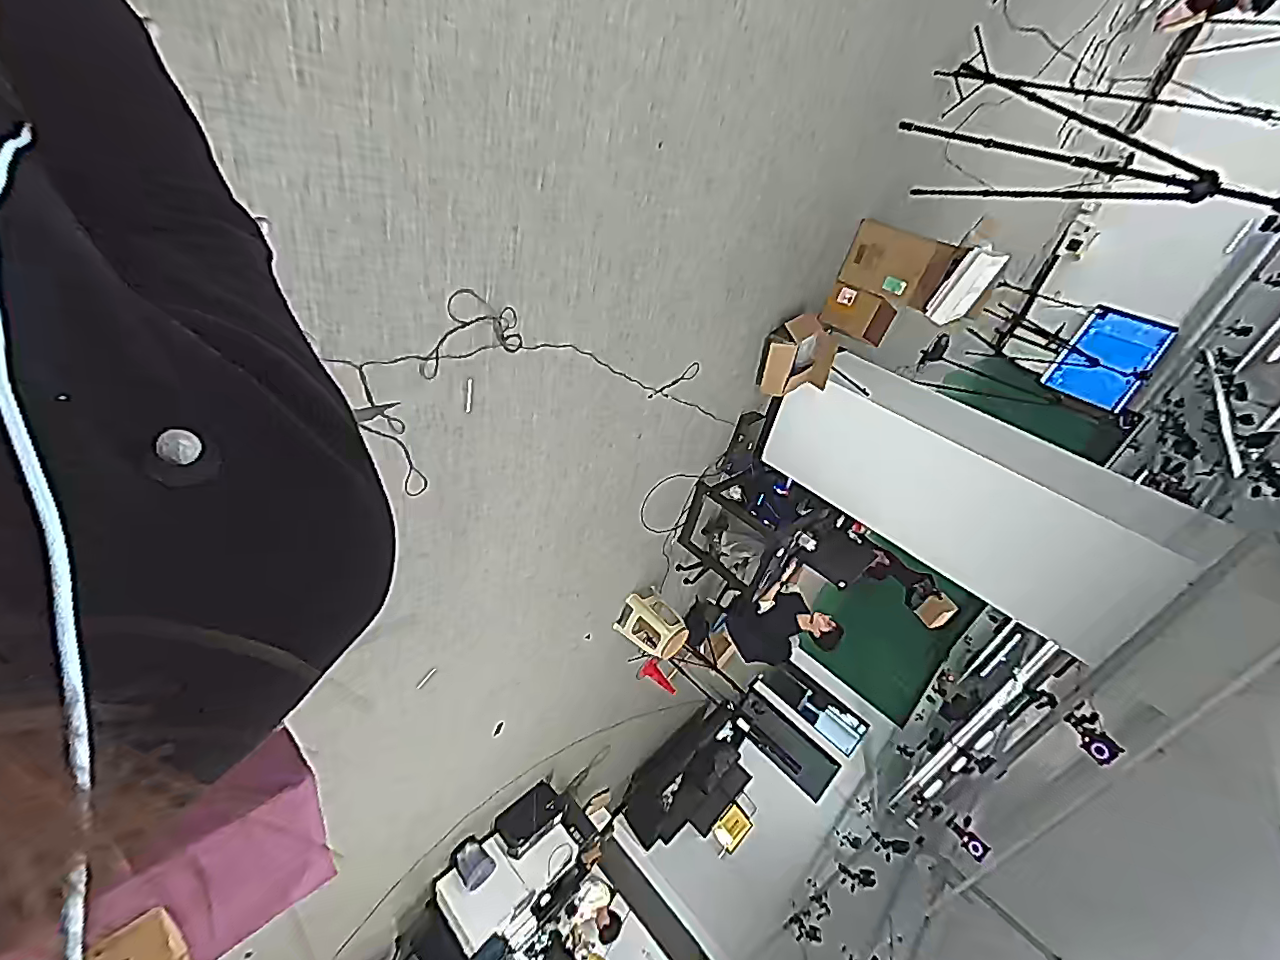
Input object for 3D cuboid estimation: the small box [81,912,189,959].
[{"bbox_3d":[-1.125,1.119,1.201,0.168,0.176,0.179,-23,139,-42],"label":"small box"}]
